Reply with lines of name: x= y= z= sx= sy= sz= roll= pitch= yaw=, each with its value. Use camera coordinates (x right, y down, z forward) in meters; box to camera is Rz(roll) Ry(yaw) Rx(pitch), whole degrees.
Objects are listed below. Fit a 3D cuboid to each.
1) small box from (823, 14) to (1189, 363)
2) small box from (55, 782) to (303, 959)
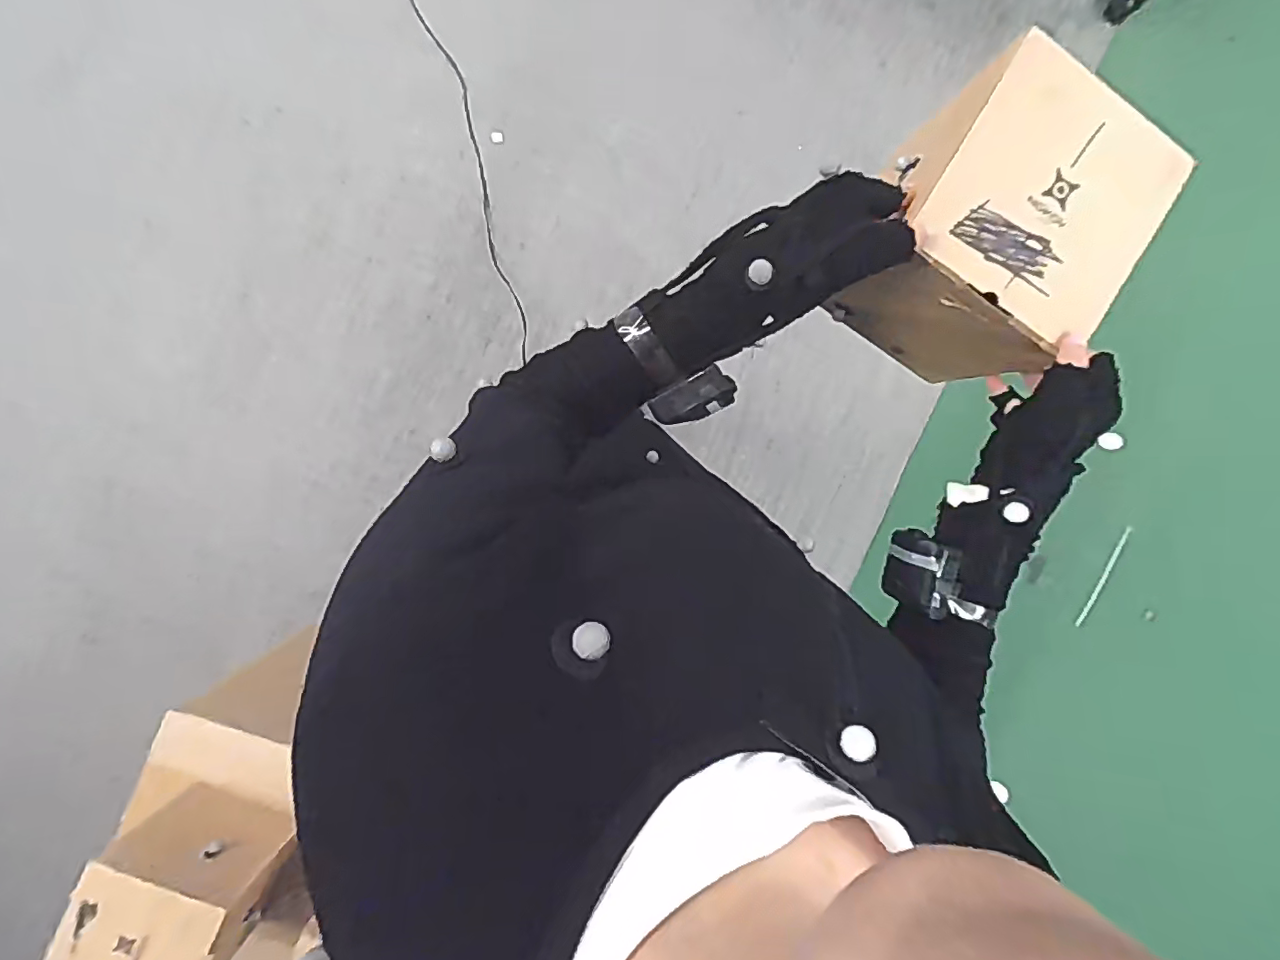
small box: x=0.288 y=-0.222 z=0.472 sx=0.168 sy=0.176 sz=0.179 roll=31 pitch=90 yaw=-8
small box: x=-0.606 y=0.552 z=0.735 sx=0.179 sy=0.176 sz=0.168 roll=23 pitch=89 yaw=-6
